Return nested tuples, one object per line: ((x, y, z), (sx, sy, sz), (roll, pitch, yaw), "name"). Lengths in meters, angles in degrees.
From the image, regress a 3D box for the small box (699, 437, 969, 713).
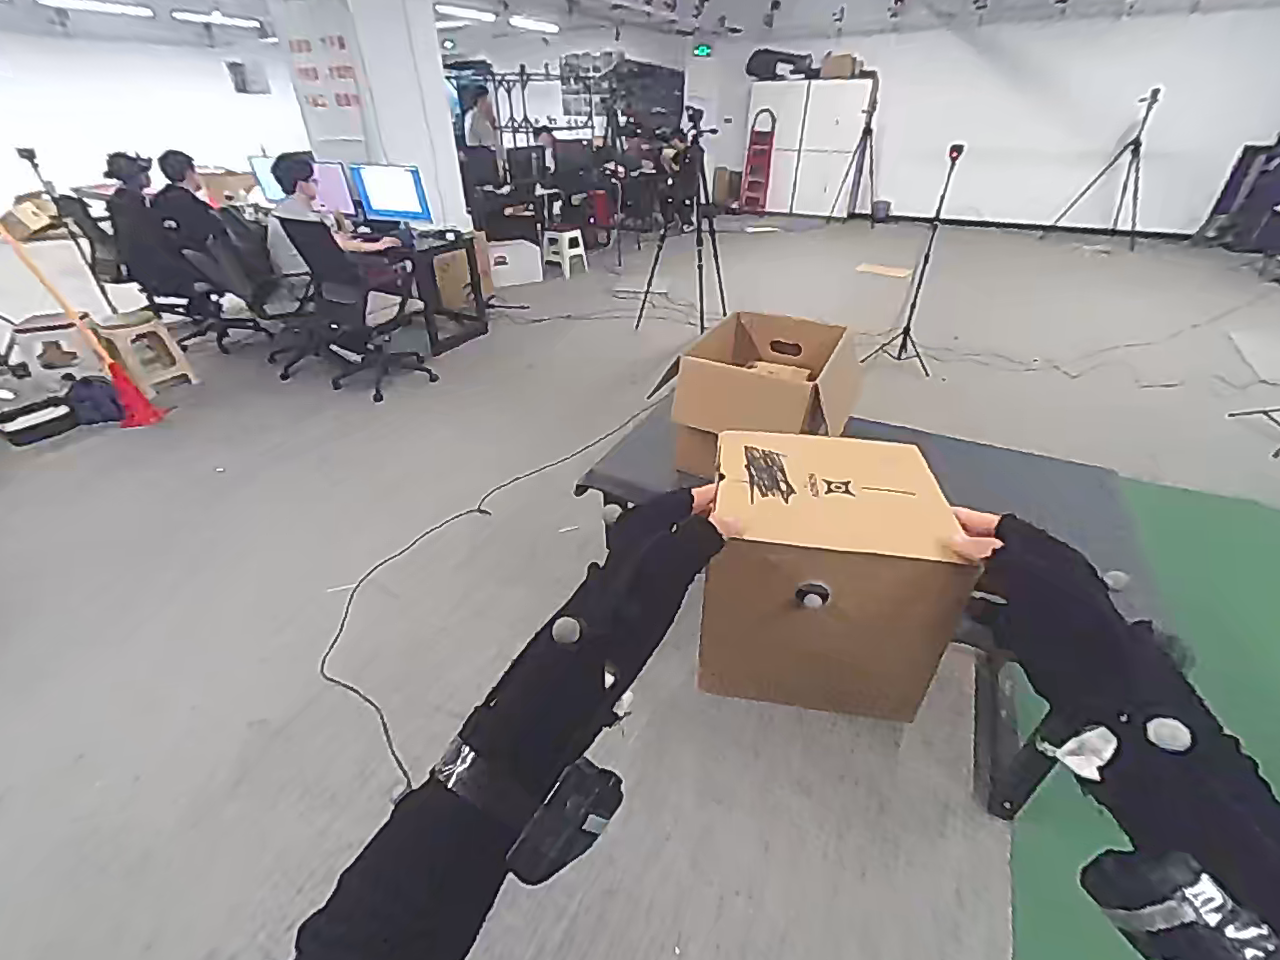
((0.147, 0.077, 0.475), (0.179, 0.176, 0.168), (6, 32, 8), "small box")
